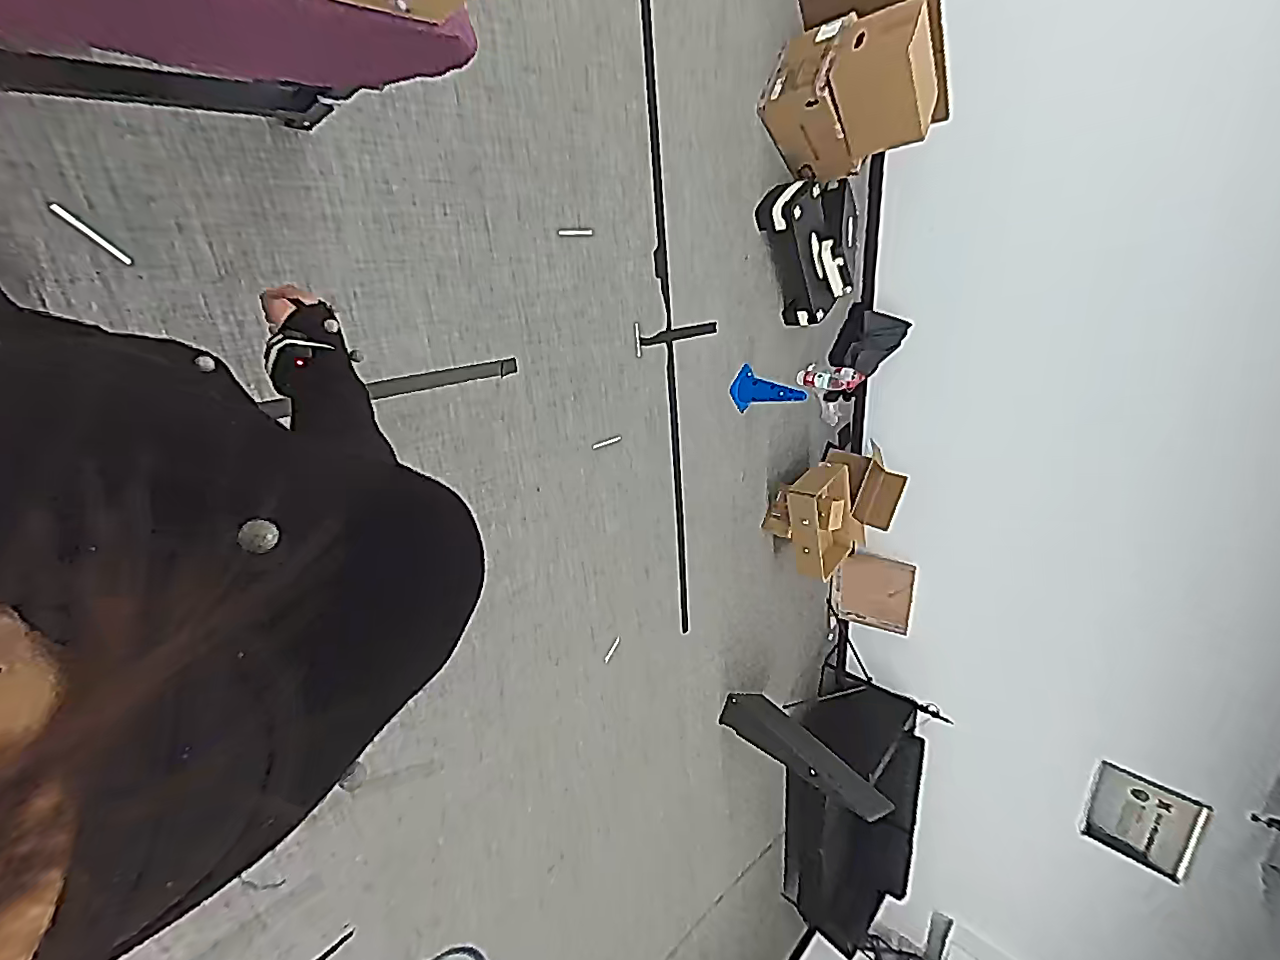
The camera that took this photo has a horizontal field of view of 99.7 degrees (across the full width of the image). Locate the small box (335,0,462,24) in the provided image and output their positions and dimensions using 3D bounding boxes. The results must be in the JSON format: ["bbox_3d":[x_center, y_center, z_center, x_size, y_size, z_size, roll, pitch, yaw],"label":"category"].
[{"bbox_3d":[-0.315,-0.726,0.678,0.168,0.176,0.179,-23,117,-39],"label":"small box"}]
